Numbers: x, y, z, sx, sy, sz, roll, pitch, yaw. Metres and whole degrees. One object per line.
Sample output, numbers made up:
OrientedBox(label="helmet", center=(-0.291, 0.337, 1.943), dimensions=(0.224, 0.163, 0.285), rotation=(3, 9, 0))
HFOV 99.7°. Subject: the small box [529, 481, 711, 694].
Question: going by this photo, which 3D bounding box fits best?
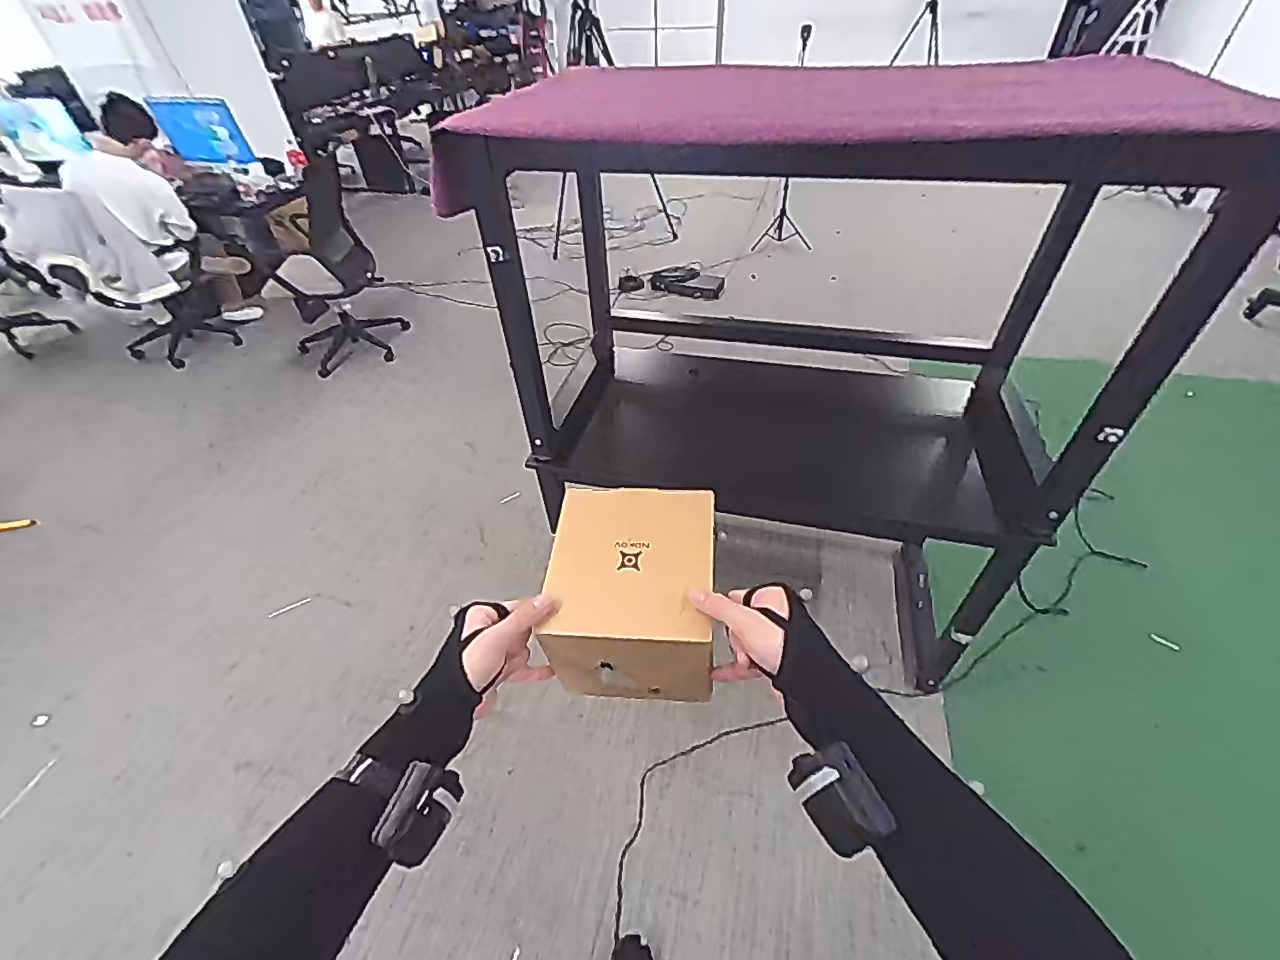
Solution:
OrientedBox(label="small box", center=(-0.006, 0.120, 0.595), dimensions=(0.168, 0.176, 0.179), rotation=(0, 49, 7))
